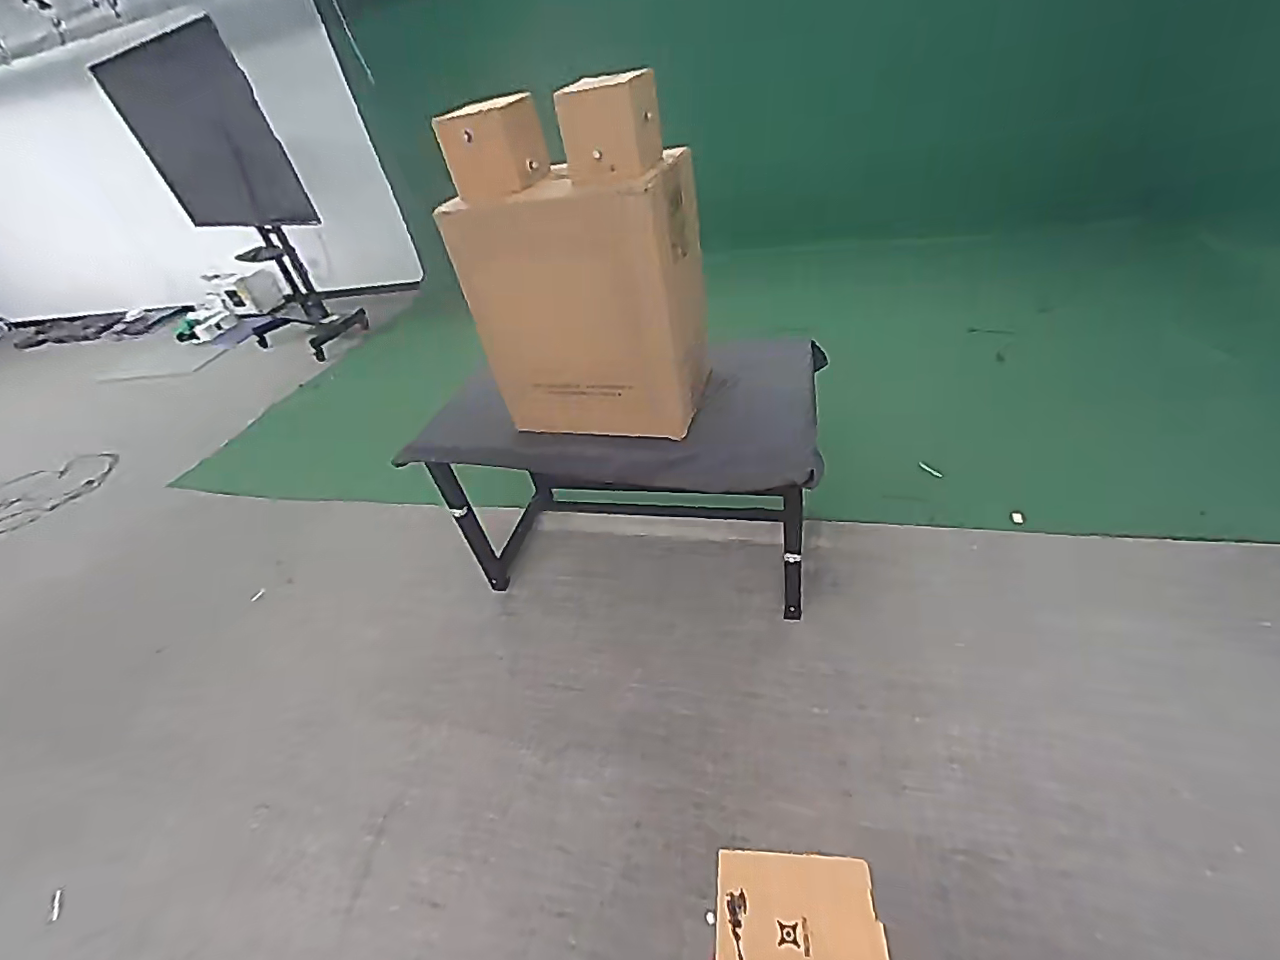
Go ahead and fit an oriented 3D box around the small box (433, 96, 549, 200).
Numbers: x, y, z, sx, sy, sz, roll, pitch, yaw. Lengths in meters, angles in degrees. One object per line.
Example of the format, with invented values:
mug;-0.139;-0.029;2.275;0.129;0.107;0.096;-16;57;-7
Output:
small box;-0.337;-0.767;1.259;0.179;0.176;0.168;5;45;19

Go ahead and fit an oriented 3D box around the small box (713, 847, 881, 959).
small box;0.179;0.563;0.627;0.179;0.176;0.168;-4;29;12

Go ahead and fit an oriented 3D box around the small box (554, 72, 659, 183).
small box;-0.063;-0.759;1.171;0.168;0.176;0.179;6;45;19
